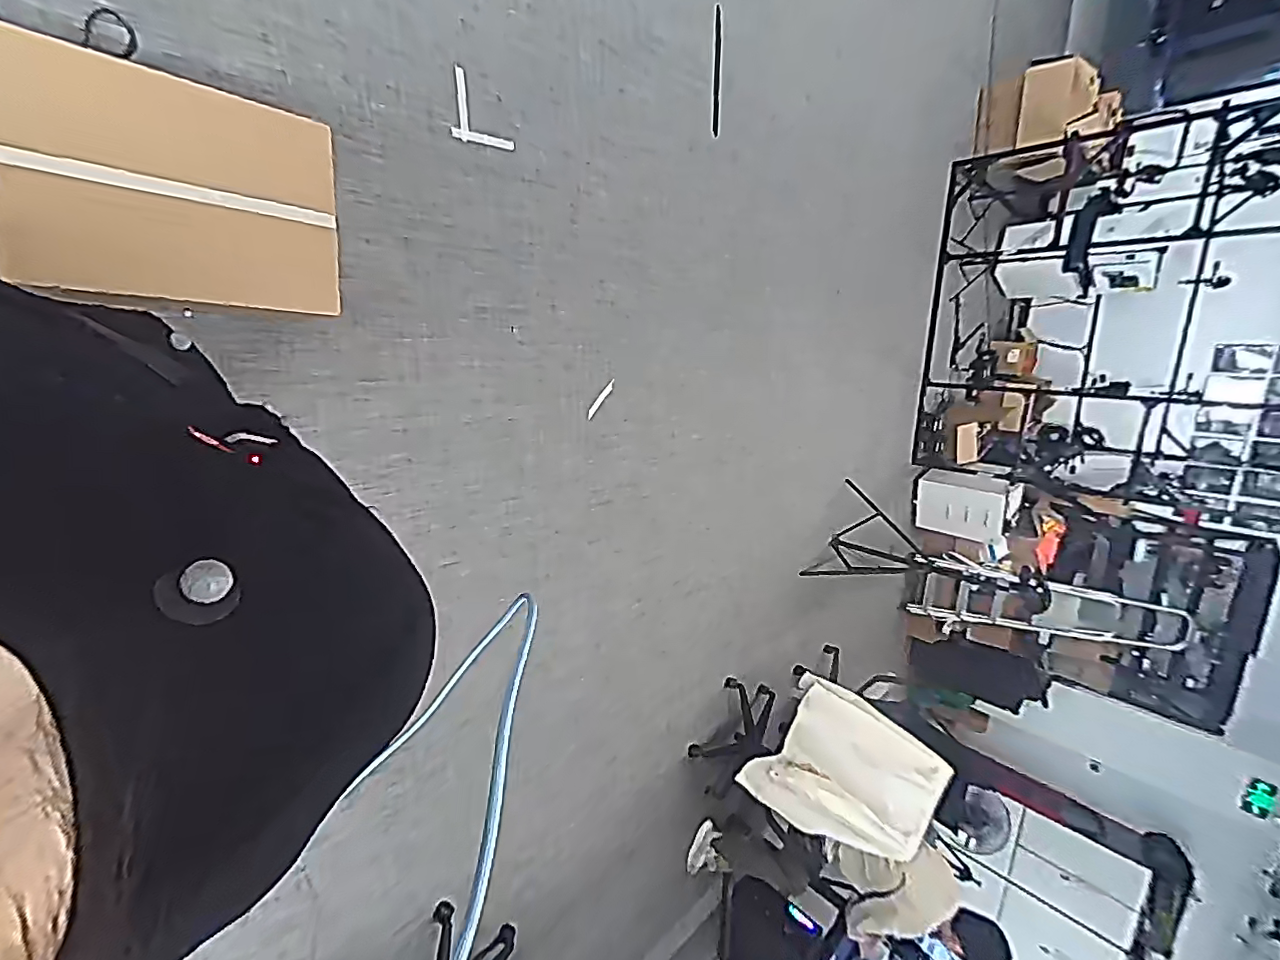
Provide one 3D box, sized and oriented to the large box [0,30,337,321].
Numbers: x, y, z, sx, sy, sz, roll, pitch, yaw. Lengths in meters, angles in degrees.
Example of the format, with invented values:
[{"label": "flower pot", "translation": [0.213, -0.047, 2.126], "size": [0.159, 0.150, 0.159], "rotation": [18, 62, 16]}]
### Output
[{"label": "large box", "translation": [-0.785, -0.447, 0.908], "size": [0.408, 0.320, 0.320], "rotation": [-8, 107, -44]}]
